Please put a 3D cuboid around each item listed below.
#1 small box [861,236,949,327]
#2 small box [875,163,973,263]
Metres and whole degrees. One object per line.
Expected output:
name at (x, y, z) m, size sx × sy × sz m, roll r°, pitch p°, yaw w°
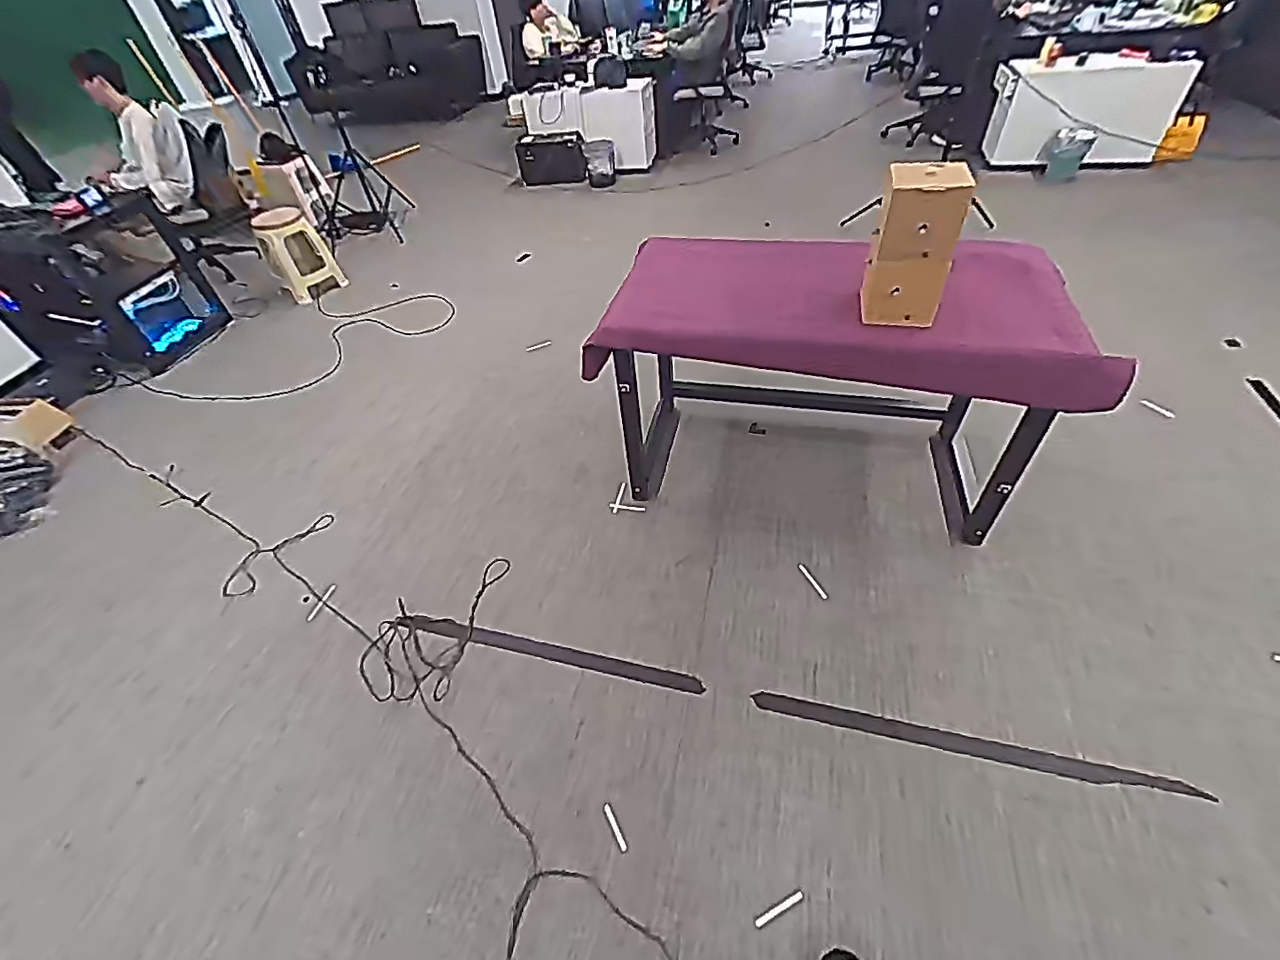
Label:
small box at (0.674, -0.511, 1.392) m, size 0.168 × 0.176 × 0.179 m, roll 7°, pitch 47°, yaw 14°
small box at (0.662, -0.629, 1.279) m, size 0.168 × 0.176 × 0.179 m, roll 8°, pitch 47°, yaw 14°
